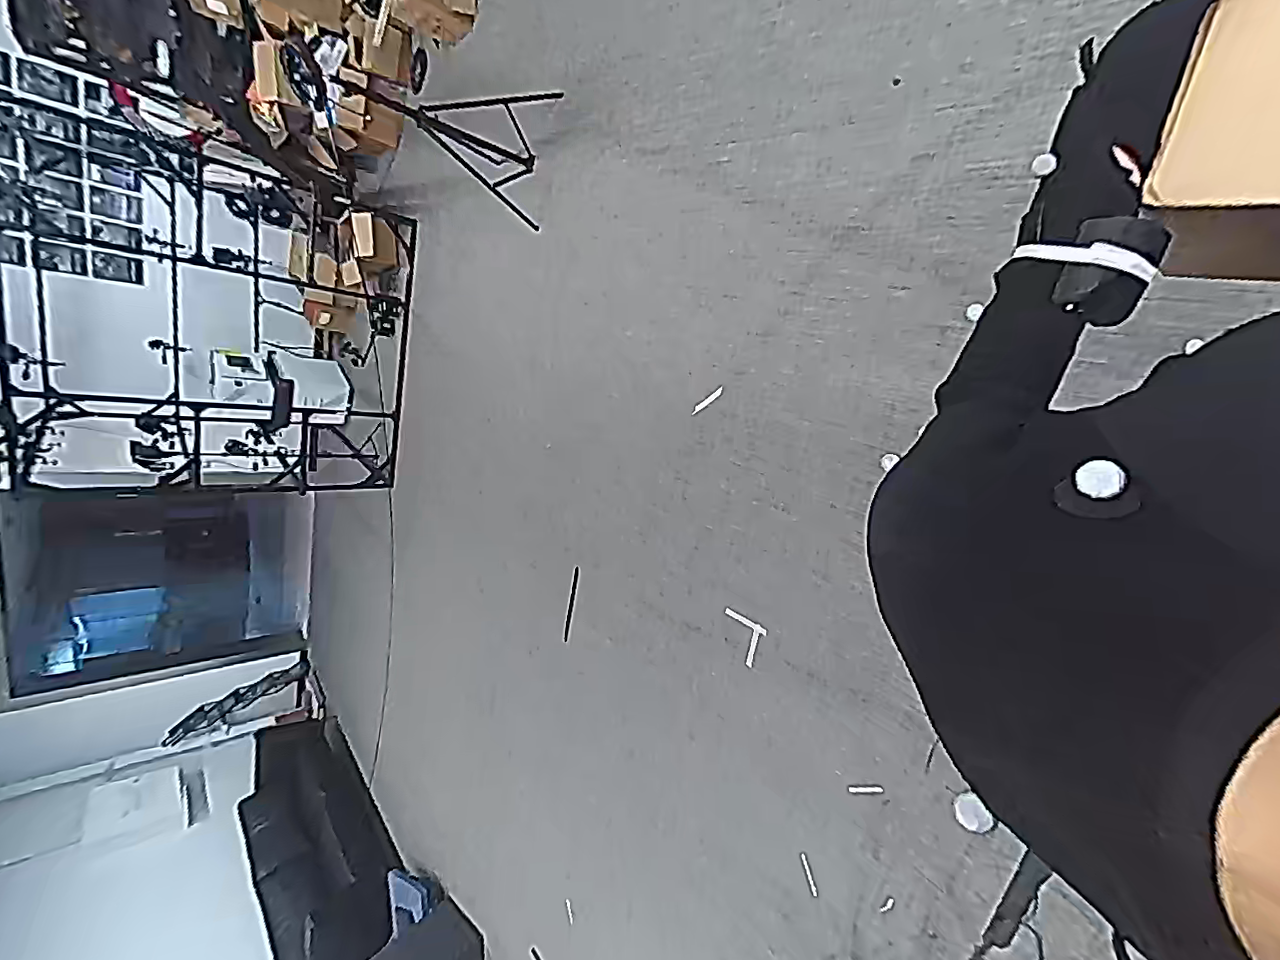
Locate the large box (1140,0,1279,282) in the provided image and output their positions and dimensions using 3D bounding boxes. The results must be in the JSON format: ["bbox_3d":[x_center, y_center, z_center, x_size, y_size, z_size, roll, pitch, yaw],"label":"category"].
[{"bbox_3d":[0.629,-0.304,0.335,0.408,0.320,0.320,23,113,41],"label":"large box"}]
